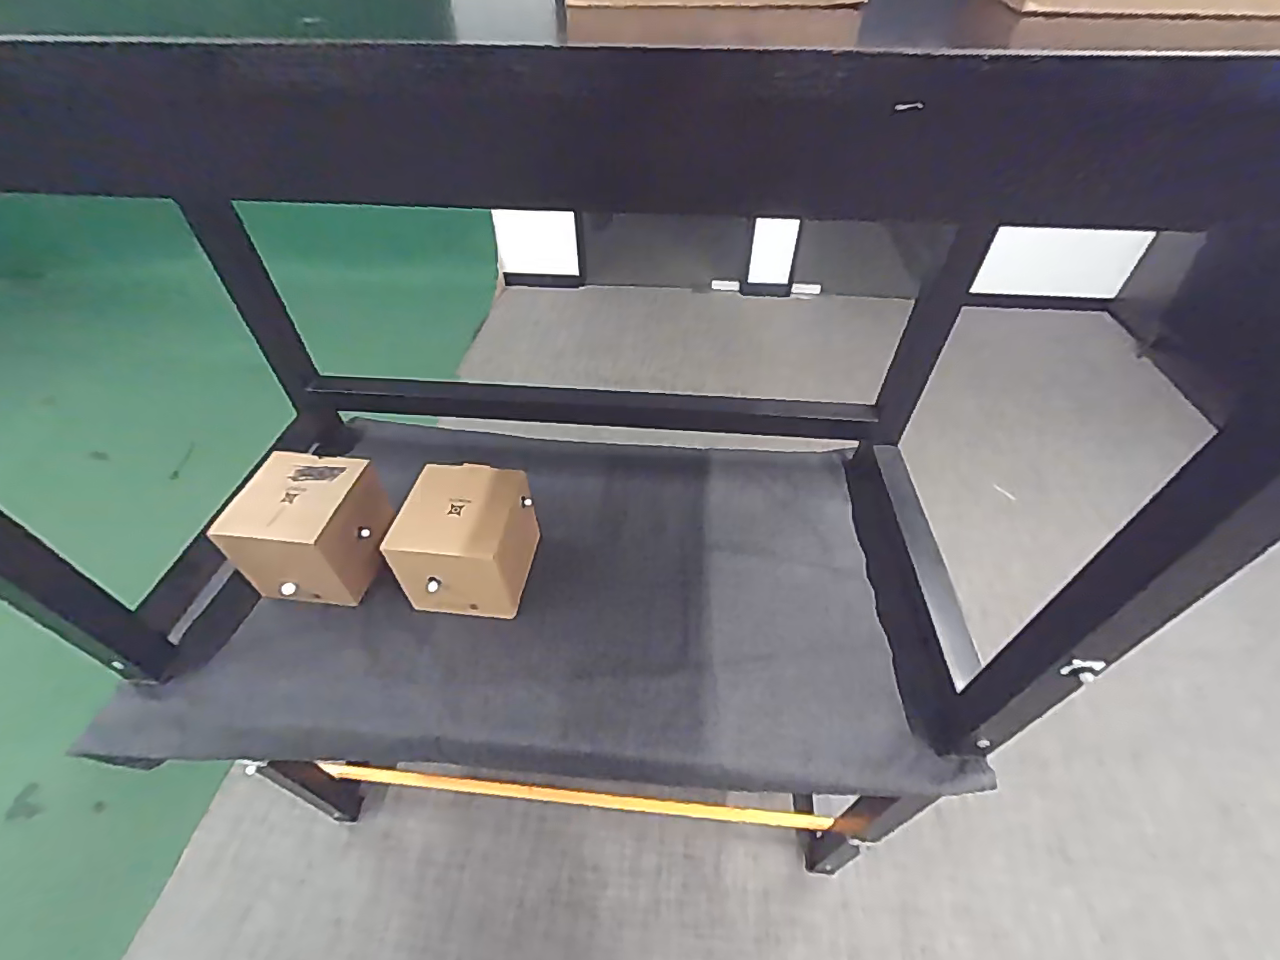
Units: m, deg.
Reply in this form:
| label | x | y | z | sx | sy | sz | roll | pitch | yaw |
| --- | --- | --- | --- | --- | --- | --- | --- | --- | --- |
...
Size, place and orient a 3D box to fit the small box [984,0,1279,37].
| label | x | y | z | sx | sy | sz | roll | pitch | yaw |
| --- | --- | --- | --- | --- | --- | --- | --- | --- | --- |
| small box | 0.284 | -0.323 | 0.249 | 0.168 | 0.176 | 0.179 | 12 | 47 | 11 |

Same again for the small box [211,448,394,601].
| label | x | y | z | sx | sy | sz | roll | pitch | yaw |
| --- | --- | --- | --- | --- | --- | --- | --- | --- | --- |
| small box | -0.526 | 0.072 | 0.880 | 0.168 | 0.176 | 0.179 | 5 | 47 | 4 |

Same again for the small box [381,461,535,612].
| label | x | y | z | sx | sy | sz | roll | pitch | yaw |
| --- | --- | --- | --- | --- | --- | --- | --- | --- | --- |
| small box | -0.274 | 0.092 | 0.866 | 0.168 | 0.176 | 0.179 | 5 | 46 | 4 |
